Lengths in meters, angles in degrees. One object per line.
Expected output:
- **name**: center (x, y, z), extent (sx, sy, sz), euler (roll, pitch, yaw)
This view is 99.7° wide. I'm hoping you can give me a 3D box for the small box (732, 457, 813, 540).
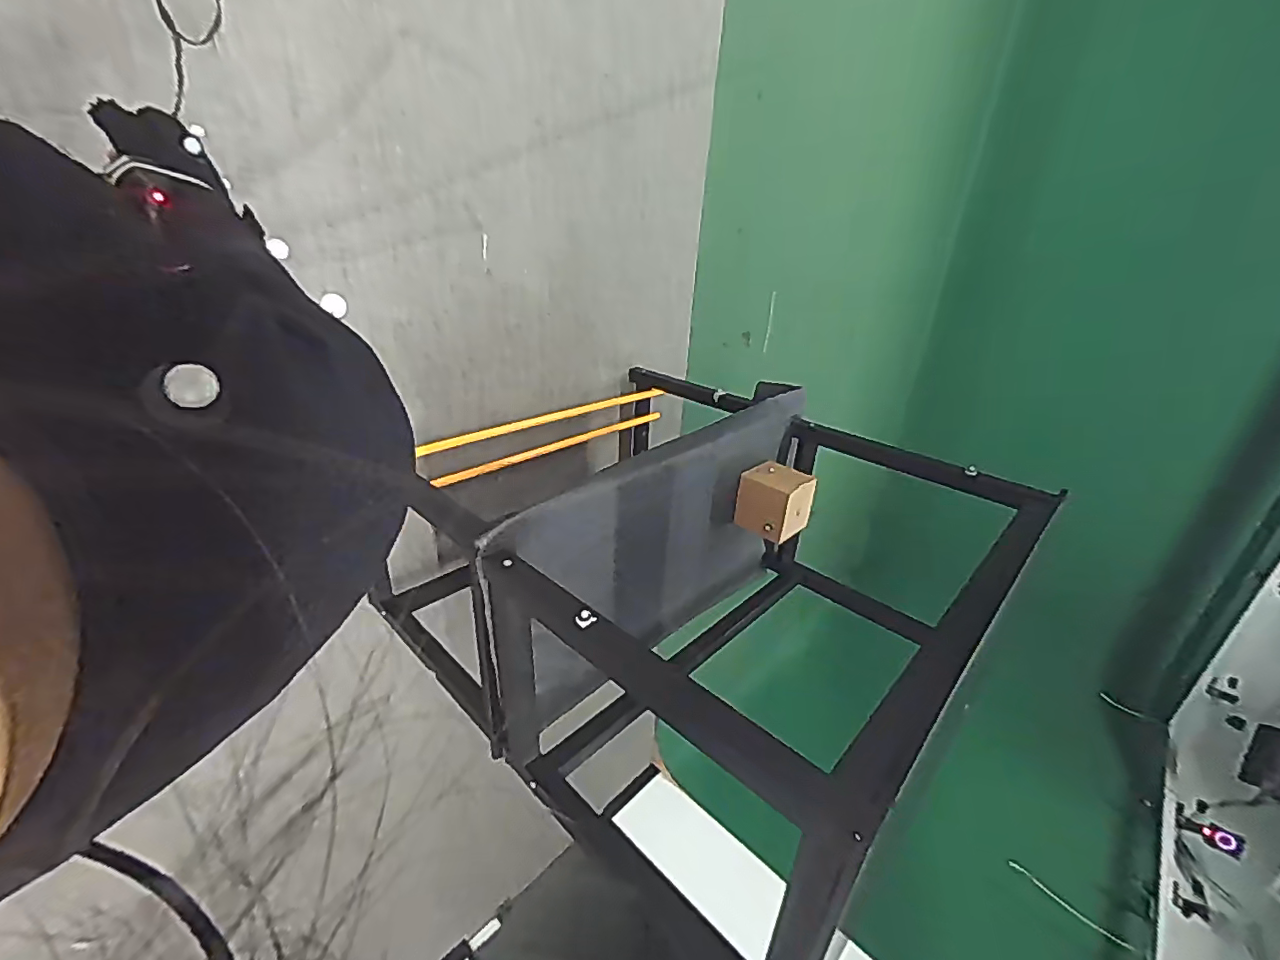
- **small box**: center (0.400, 0.052, 1.656), extent (0.168, 0.176, 0.179), euler (-22, 127, -42)
